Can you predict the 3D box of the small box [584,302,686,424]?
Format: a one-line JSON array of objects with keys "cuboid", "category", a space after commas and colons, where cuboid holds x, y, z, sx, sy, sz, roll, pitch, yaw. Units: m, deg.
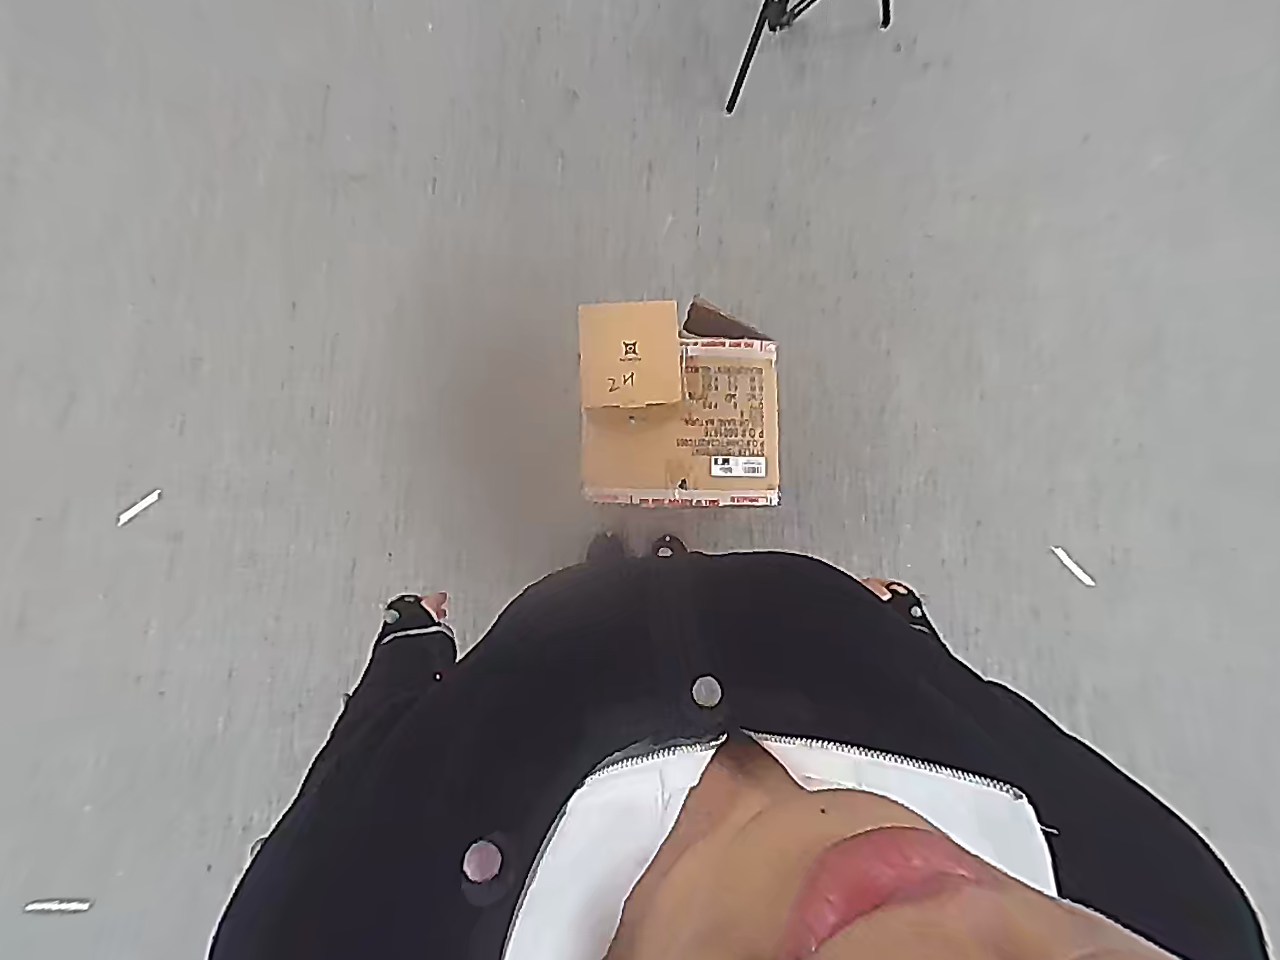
[{"cuboid": [-0.010, -0.202, 0.968, 0.168, 0.176, 0.179, -3, 88, 0], "category": "small box"}]
